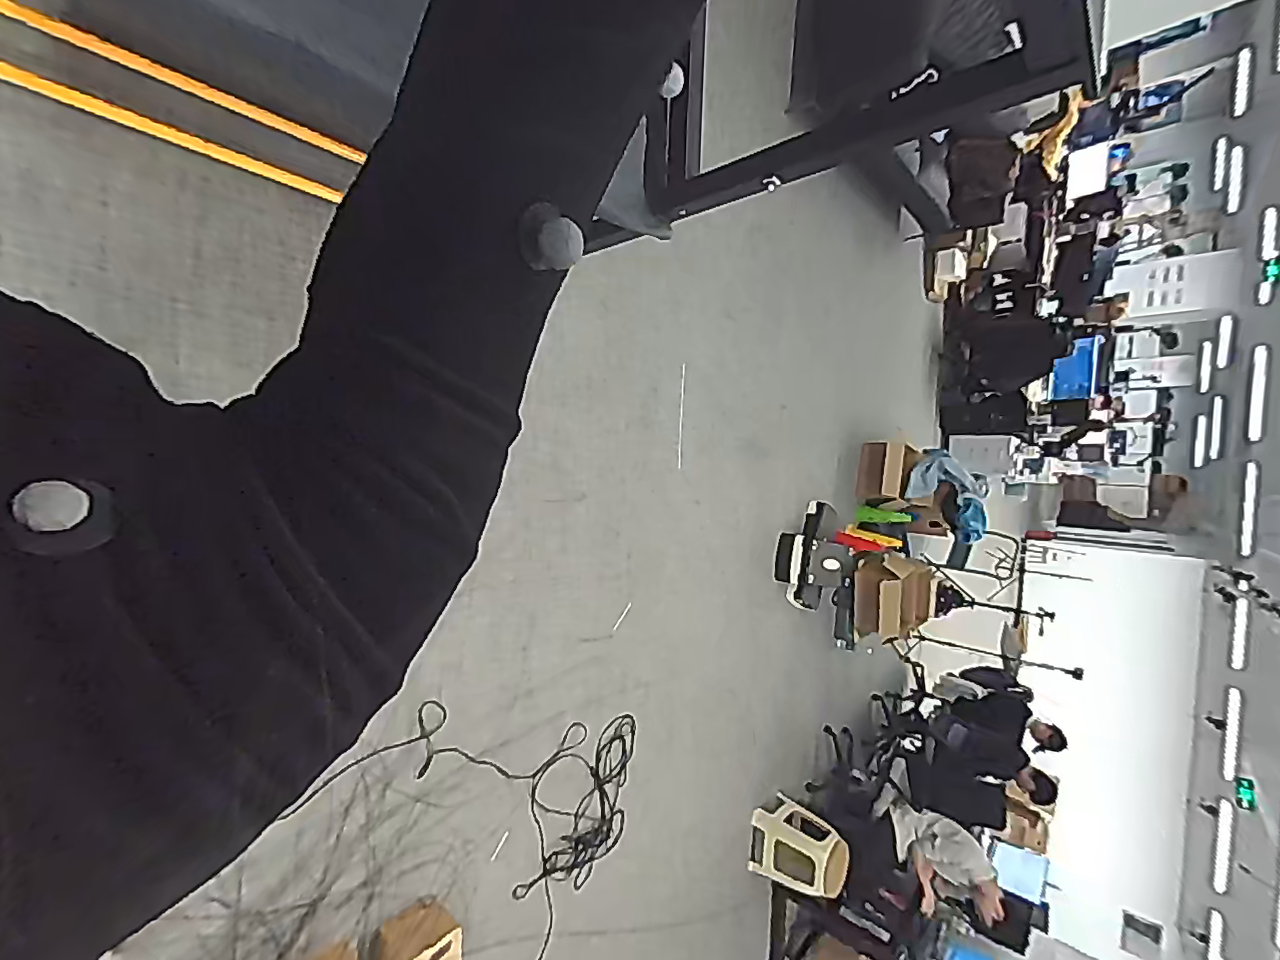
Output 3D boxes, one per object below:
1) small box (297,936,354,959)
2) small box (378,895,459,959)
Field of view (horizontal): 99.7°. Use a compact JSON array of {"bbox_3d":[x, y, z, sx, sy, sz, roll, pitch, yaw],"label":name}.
[{"bbox_3d":[-0.814,1.334,1.376,0.168,0.176,0.179,-7,98,-48],"label":"small box"},{"bbox_3d":[-0.645,1.355,1.566,0.168,0.176,0.179,-3,96,-48],"label":"small box"}]
